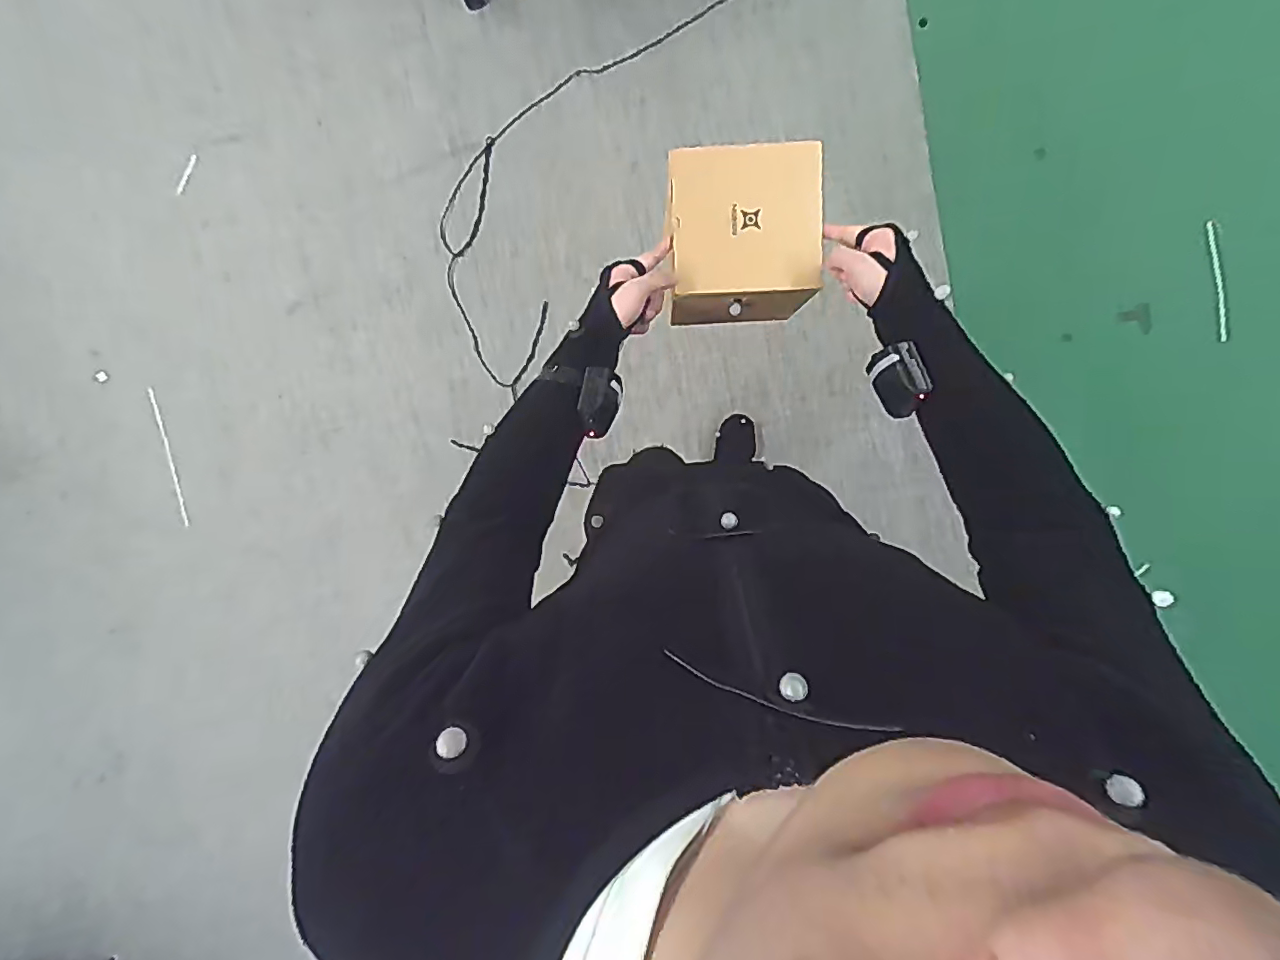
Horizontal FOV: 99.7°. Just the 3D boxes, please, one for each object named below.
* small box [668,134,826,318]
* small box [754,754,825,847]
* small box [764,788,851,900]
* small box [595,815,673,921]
[{"bbox_3d":[0.127,-0.312,0.697,0.179,0.176,0.168,-3,95,3],"label":"small box"},{"bbox_3d":[0.440,0.922,1.568,0.179,0.176,0.168,-12,92,8],"label":"small box"},{"bbox_3d":[0.427,0.933,1.405,0.168,0.176,0.179,-16,91,9],"label":"small box"},{"bbox_3d":[-0.009,1.039,1.459,0.179,0.176,0.168,-10,92,8],"label":"small box"}]
